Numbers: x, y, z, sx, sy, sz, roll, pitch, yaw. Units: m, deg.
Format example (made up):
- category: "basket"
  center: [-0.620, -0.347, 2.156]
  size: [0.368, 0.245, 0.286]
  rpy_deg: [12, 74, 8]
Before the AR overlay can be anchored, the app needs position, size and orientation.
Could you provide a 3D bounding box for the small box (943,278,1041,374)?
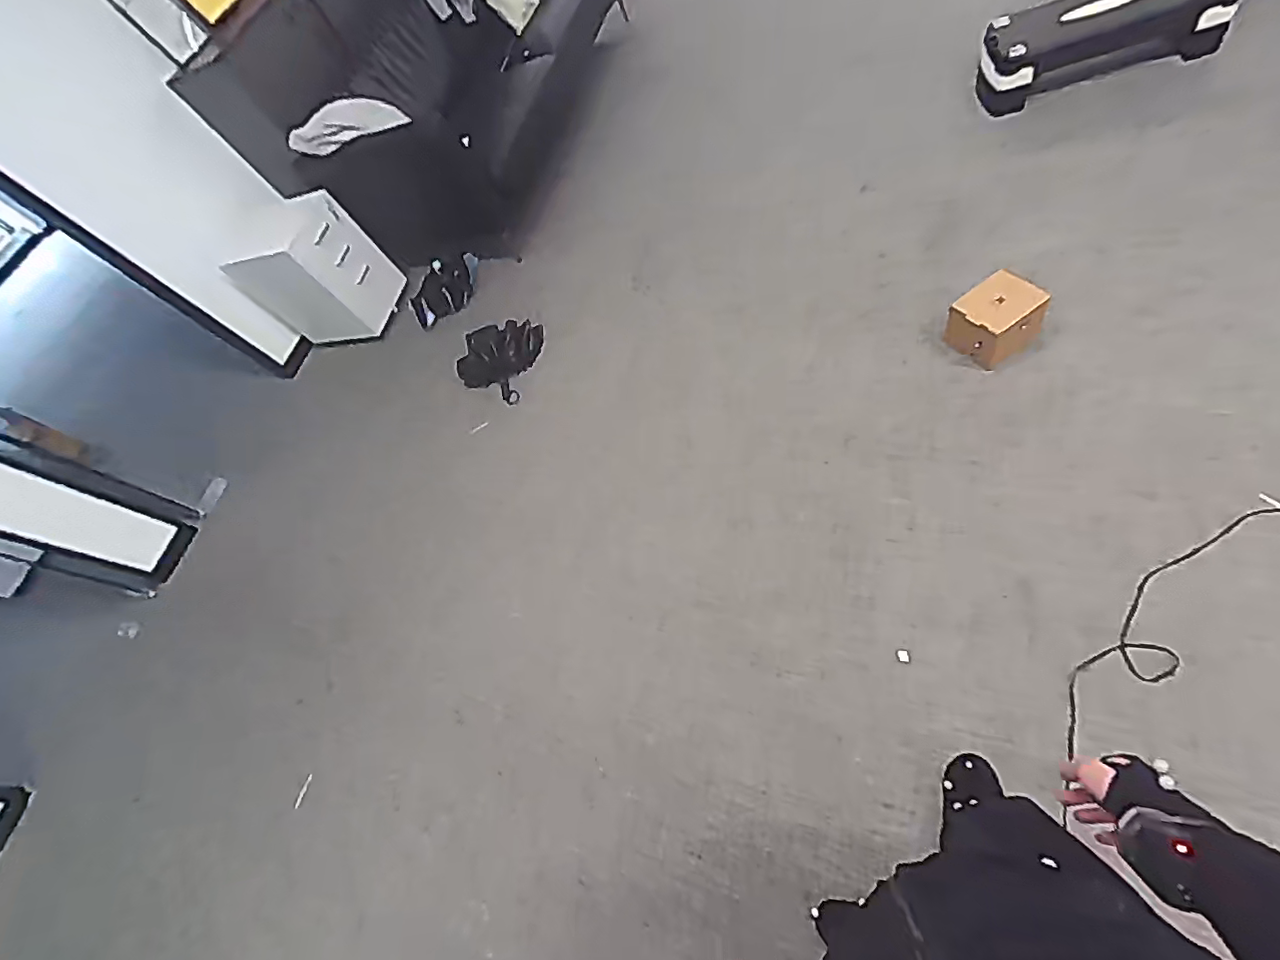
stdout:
- category: "small box"
  center: [1.020, -0.447, 1.587]
  size: [0.179, 0.176, 0.168]
  rpy_deg: [-35, 56, 0]
